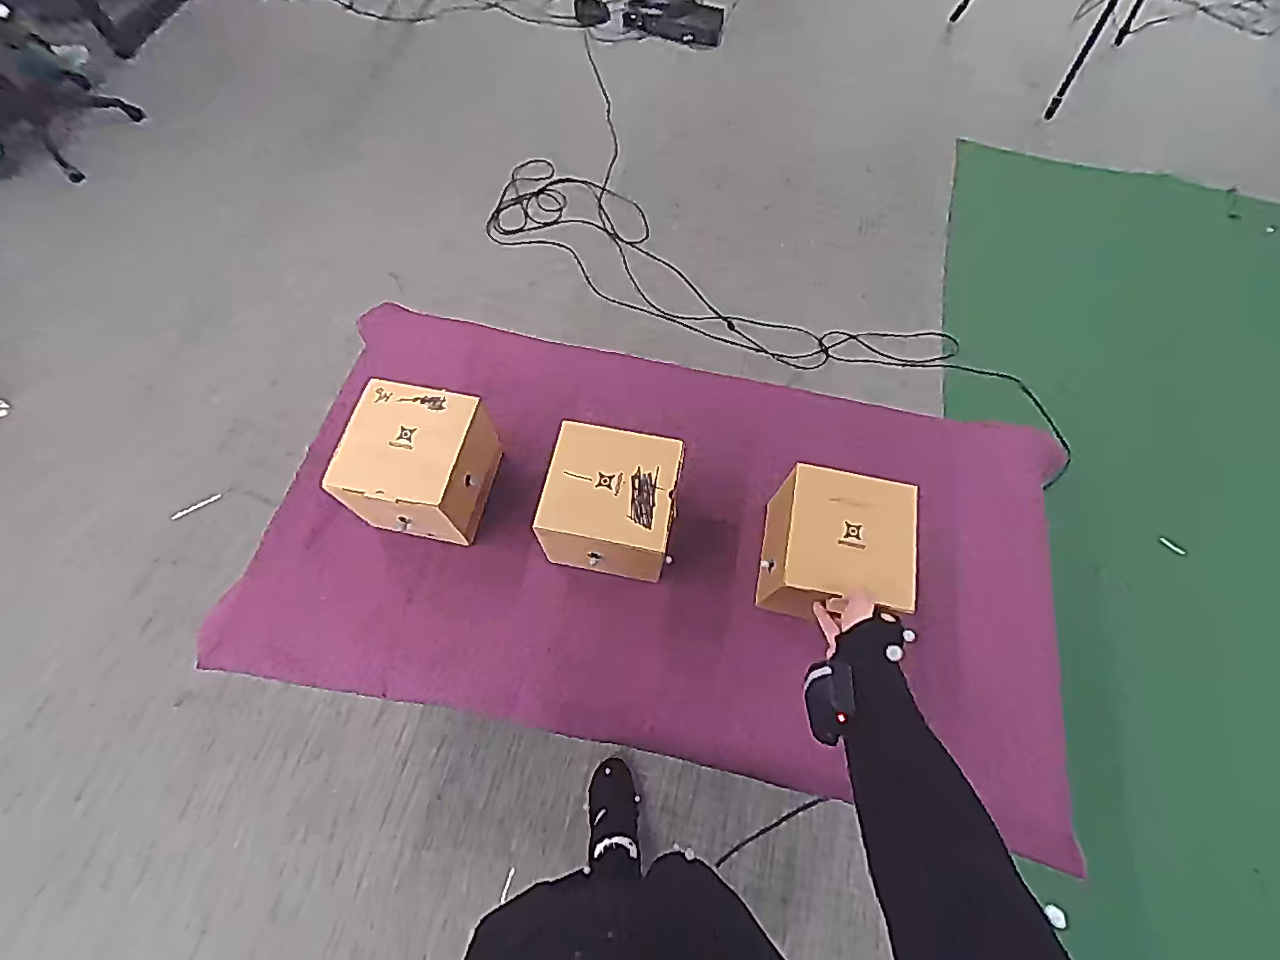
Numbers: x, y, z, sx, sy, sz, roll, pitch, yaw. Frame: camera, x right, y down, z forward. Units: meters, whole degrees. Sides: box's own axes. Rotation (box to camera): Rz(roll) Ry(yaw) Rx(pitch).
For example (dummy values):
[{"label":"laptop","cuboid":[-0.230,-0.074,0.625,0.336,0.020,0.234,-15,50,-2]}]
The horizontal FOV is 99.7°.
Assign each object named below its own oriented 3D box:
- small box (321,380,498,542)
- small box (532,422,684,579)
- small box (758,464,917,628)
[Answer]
[{"label":"small box","cuboid":[-0.327,-0.020,0.811,0.168,0.176,0.179,11,67,3]},{"label":"small box","cuboid":[-0.041,0.039,0.794,0.179,0.176,0.168,10,66,4]},{"label":"small box","cuboid":[0.272,0.102,0.771,0.168,0.176,0.179,12,67,3]}]
